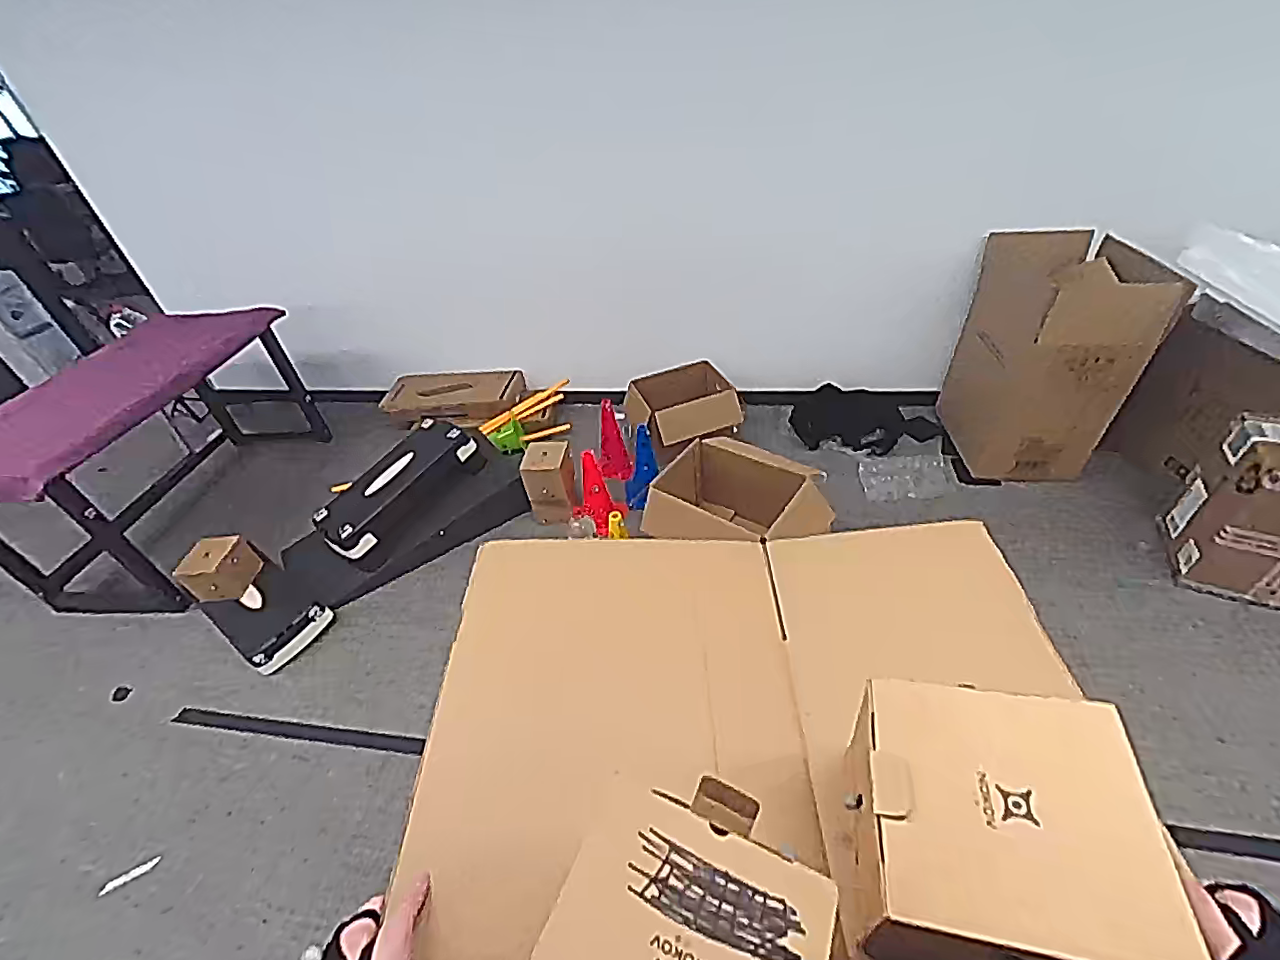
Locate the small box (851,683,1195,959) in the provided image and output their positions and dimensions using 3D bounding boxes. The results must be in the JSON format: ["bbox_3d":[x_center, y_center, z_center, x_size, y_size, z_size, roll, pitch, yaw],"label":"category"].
[{"bbox_3d":[0.276,0.291,0.444,0.179,0.176,0.168,1,46,17],"label":"small box"}]
